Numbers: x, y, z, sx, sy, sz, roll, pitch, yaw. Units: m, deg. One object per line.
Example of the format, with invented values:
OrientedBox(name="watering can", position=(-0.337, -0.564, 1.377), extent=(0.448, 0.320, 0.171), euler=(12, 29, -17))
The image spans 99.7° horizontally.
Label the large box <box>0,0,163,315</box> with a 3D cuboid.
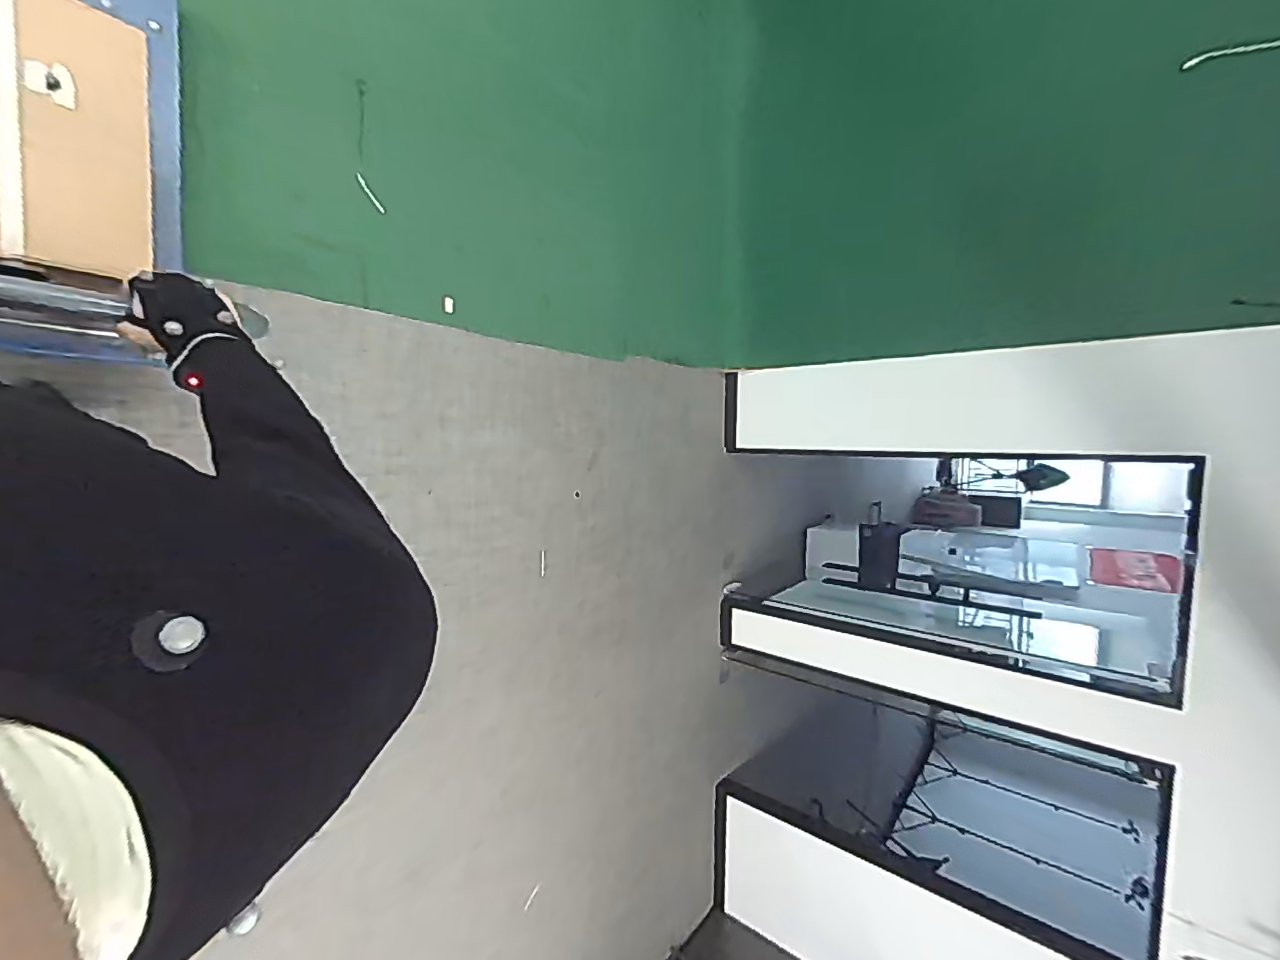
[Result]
OrientedBox(name="large box", position=(-1.001, -0.511, 0.859), extent=(0.320, 0.320, 0.408), euler=(-3, 94, -51))
